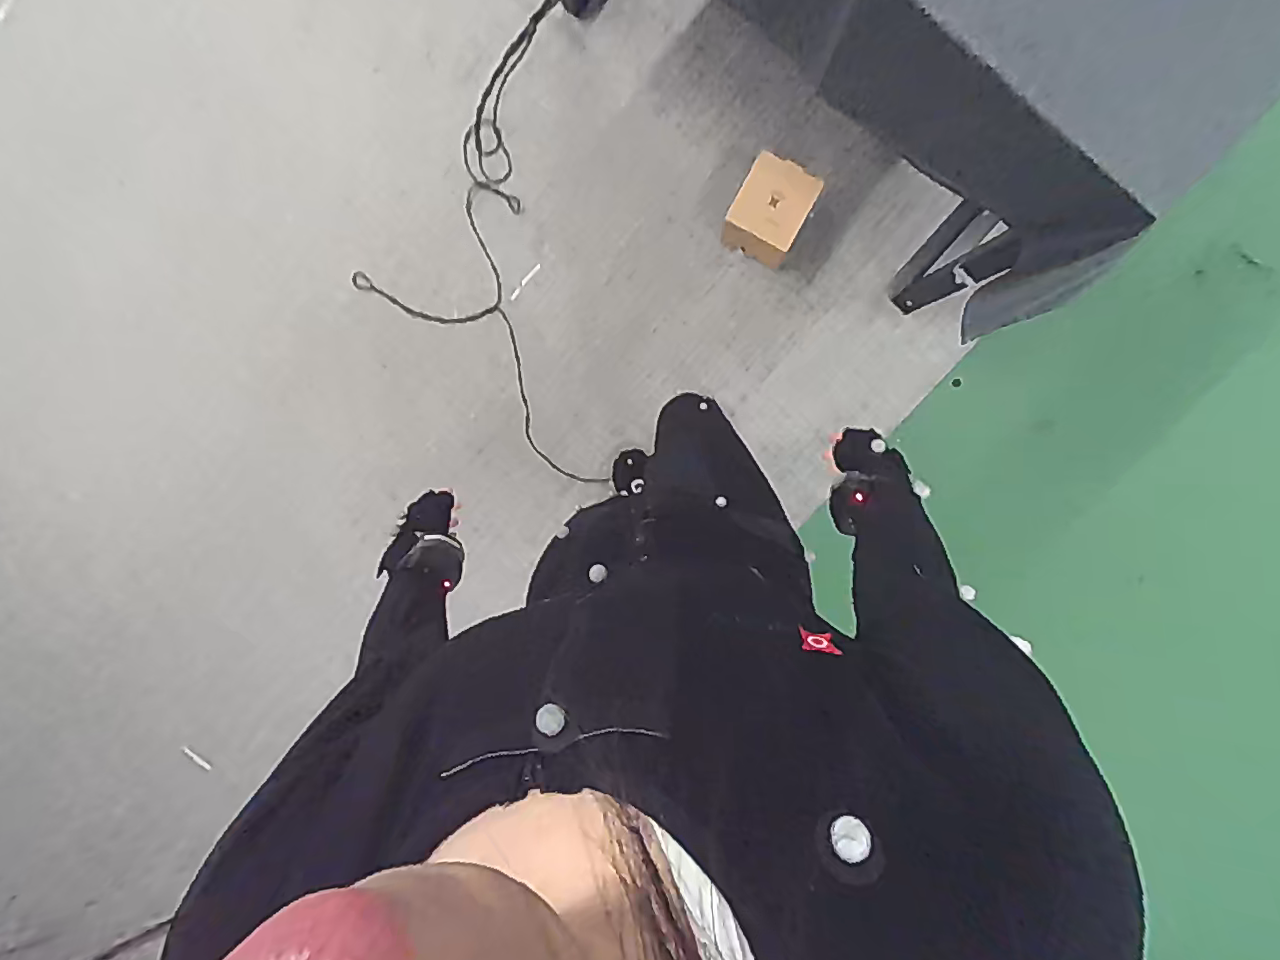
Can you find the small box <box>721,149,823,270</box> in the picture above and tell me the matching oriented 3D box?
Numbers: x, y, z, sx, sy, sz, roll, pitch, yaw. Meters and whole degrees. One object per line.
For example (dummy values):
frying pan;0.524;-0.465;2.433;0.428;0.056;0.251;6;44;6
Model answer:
small box;0.306;-0.641;1.304;0.168;0.176;0.179;29;97;0
